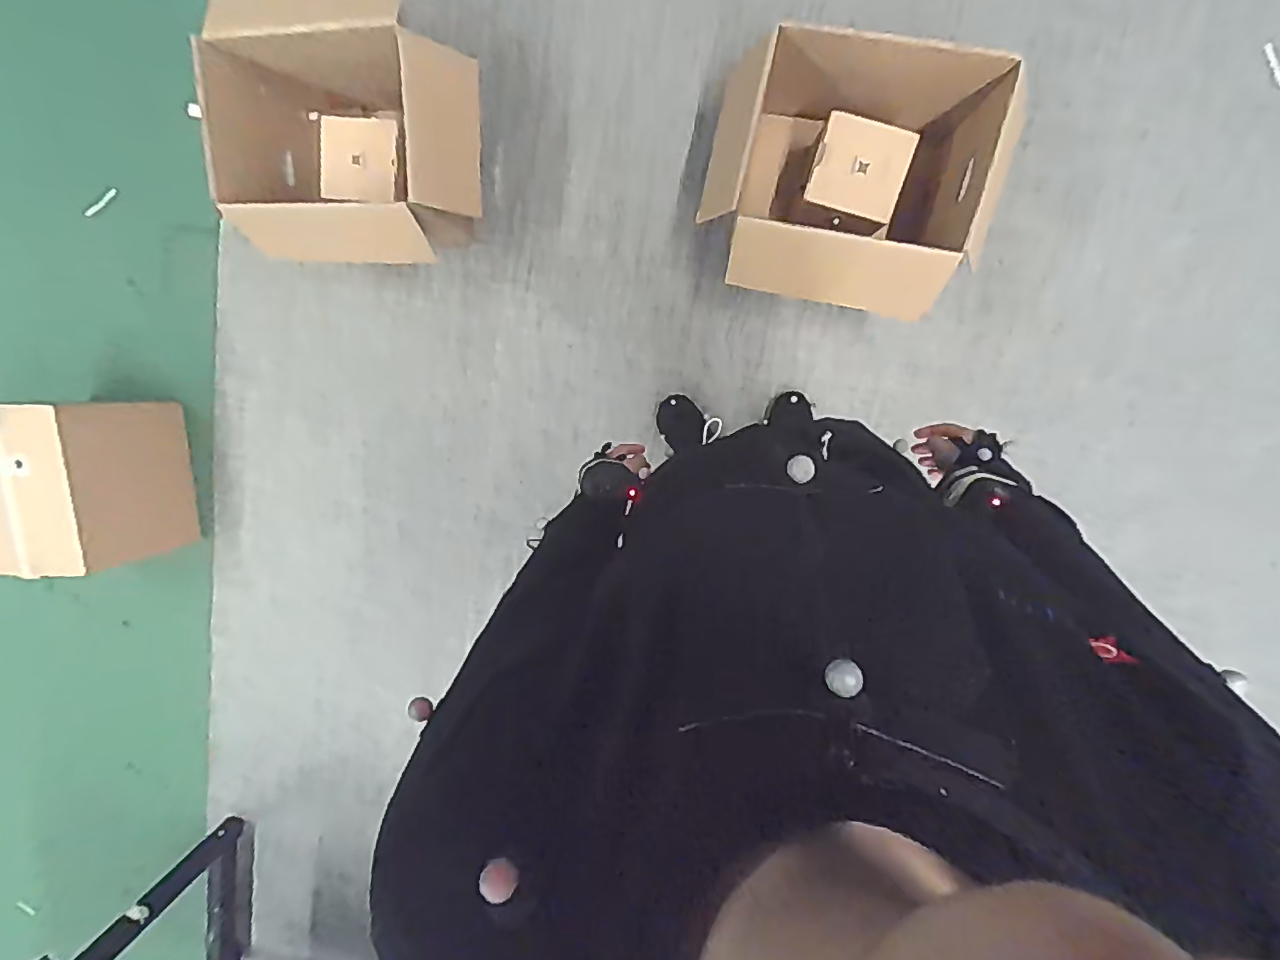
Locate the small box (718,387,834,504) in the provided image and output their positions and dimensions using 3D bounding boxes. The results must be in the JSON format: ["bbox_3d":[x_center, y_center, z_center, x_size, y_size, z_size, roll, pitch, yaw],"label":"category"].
[{"bbox_3d":[0.305,-0.067,1.209,0.179,0.168,0.176,44,131,-13],"label":"small box"}]
